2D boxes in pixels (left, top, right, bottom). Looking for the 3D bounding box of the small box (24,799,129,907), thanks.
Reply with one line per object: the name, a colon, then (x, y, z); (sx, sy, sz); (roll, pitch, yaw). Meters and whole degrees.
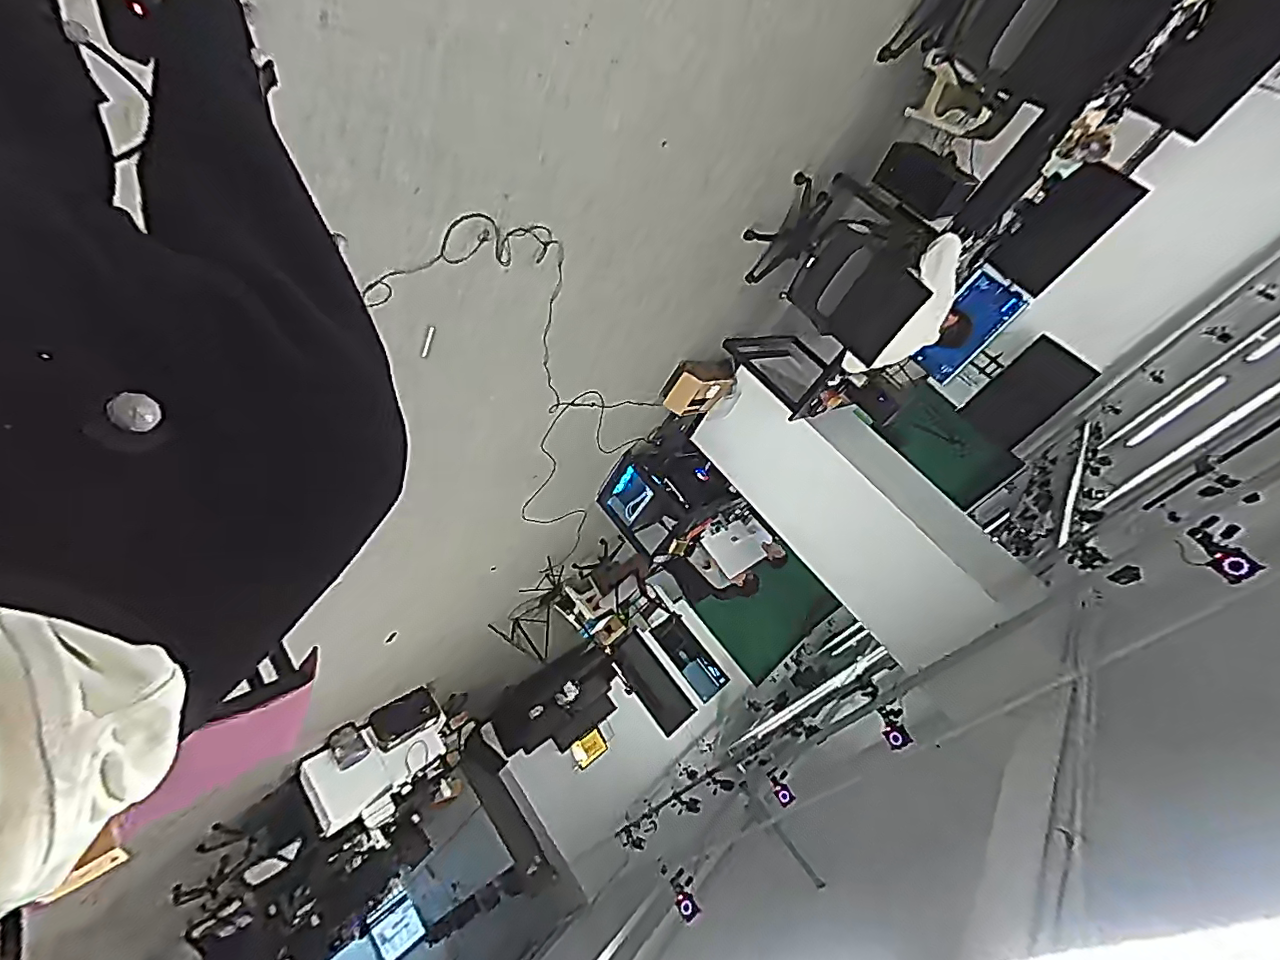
small box: (-1.598, 1.054, 1.533); (0.179, 0.176, 0.168); (-19, 153, -45)
